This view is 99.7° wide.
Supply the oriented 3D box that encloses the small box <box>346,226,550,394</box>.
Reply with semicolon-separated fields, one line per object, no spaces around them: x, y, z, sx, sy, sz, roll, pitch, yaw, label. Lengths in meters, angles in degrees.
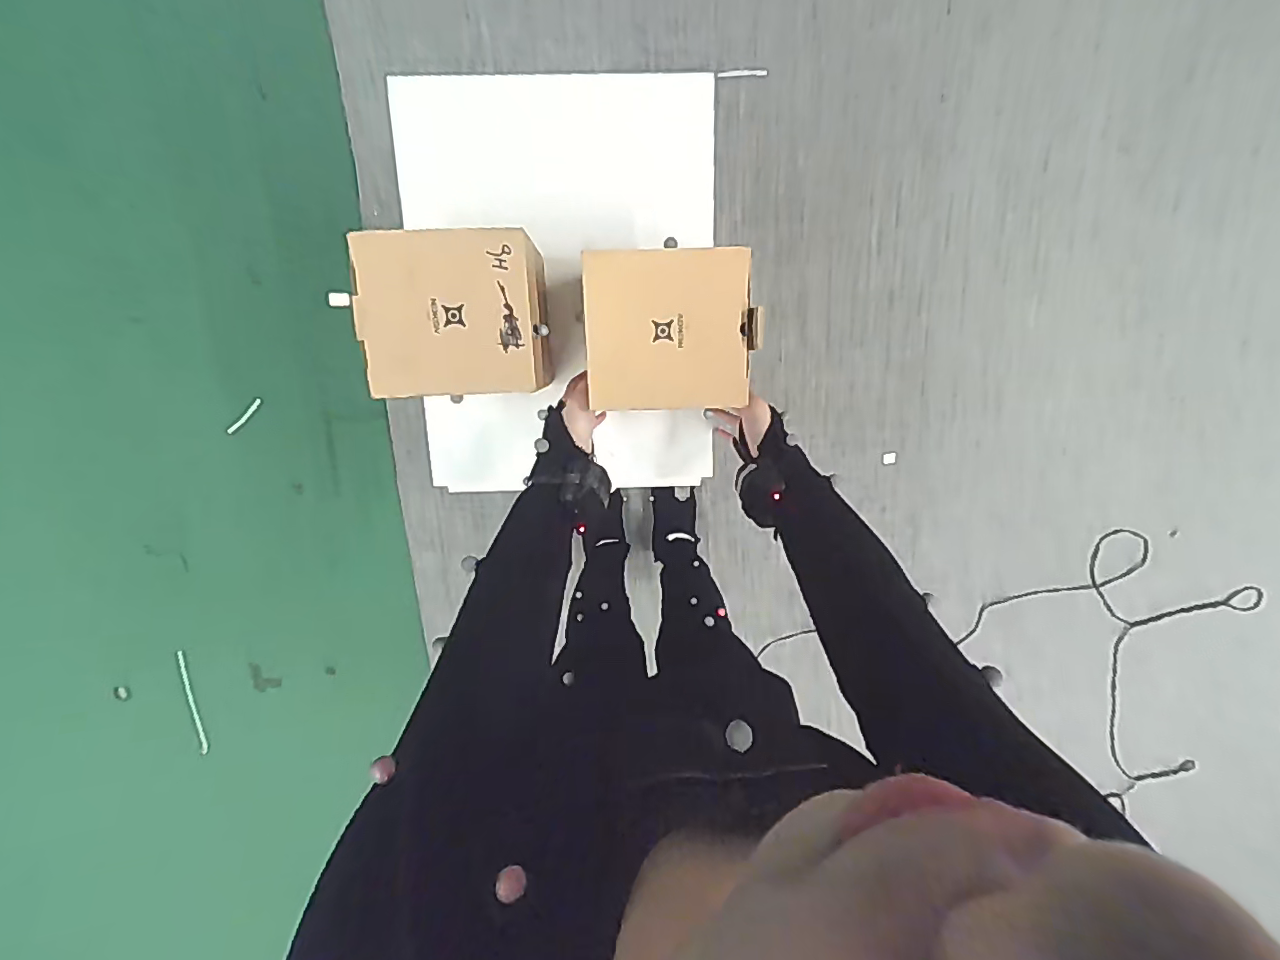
-0.207;-0.189;0.631;0.179;0.176;0.168;-3;103;-3;small box
